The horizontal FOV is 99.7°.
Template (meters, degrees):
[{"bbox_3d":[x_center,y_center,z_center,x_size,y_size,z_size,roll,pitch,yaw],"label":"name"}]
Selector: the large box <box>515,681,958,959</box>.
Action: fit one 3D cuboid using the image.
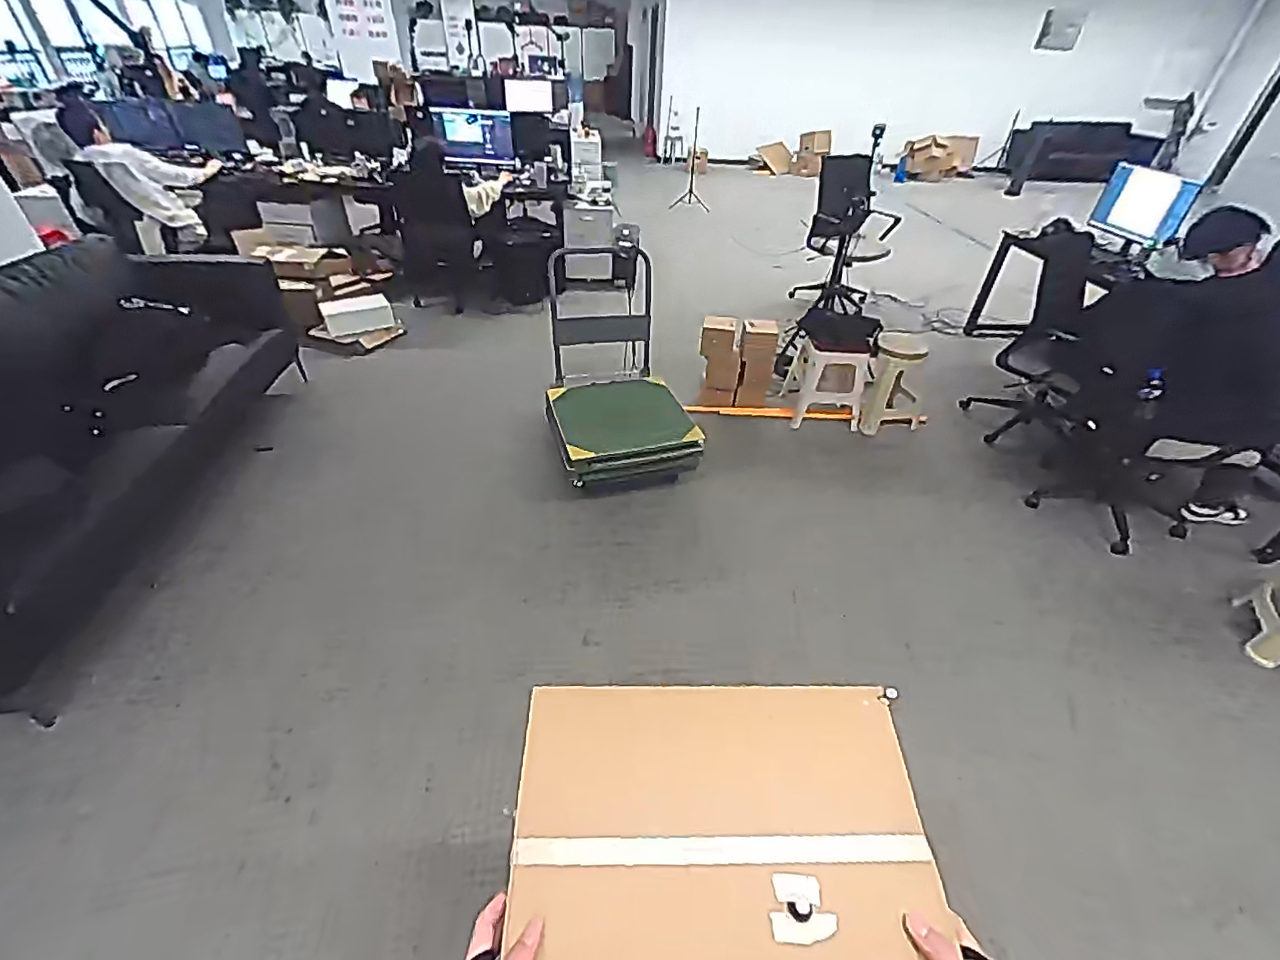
[{"bbox_3d":[0.079,0.453,0.649,0.408,0.320,0.320,0,52,-2],"label":"large box"}]
